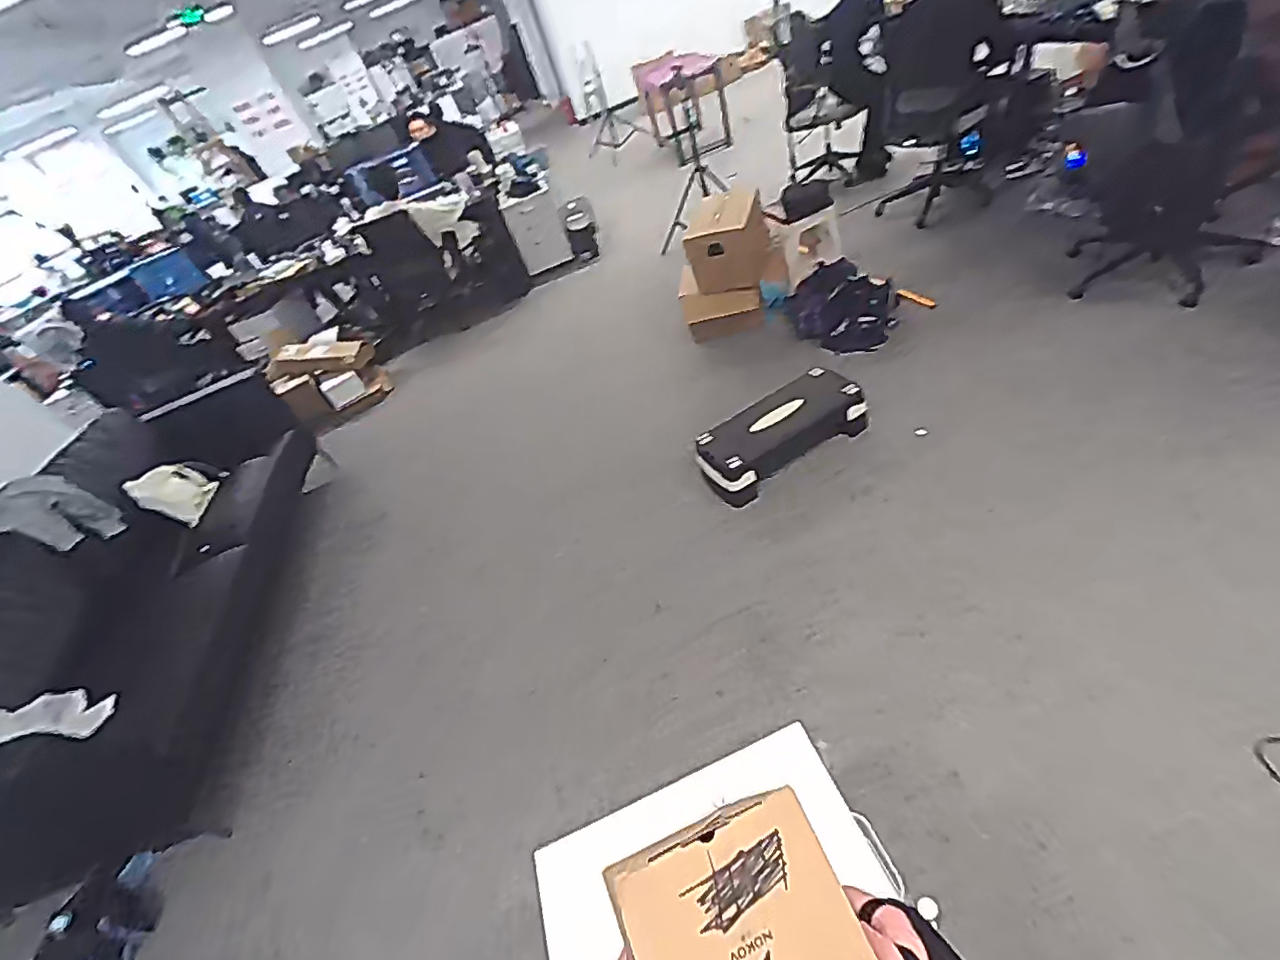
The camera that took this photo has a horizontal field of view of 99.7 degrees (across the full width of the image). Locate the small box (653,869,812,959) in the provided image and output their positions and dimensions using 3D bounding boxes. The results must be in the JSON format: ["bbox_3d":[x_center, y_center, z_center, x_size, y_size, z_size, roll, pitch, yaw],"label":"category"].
[{"bbox_3d":[0.135,0.624,0.663,0.168,0.176,0.179,-22,39,-1],"label":"small box"}]
